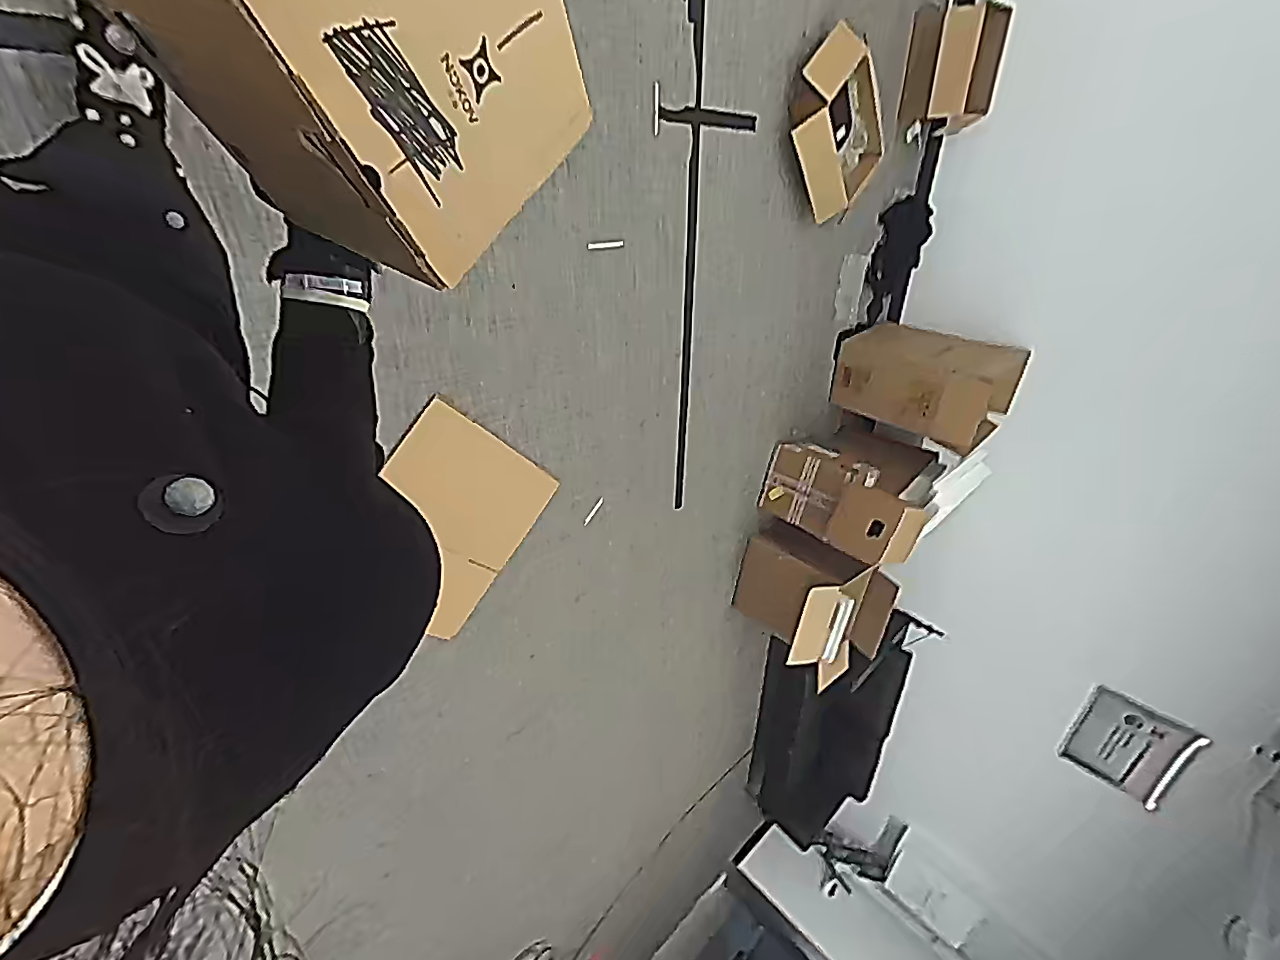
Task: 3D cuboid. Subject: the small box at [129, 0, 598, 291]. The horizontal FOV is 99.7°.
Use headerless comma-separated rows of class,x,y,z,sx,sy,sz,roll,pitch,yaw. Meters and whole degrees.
small box,-0.158,-0.258,0.336,0.179,0.176,0.168,-56,159,-15
